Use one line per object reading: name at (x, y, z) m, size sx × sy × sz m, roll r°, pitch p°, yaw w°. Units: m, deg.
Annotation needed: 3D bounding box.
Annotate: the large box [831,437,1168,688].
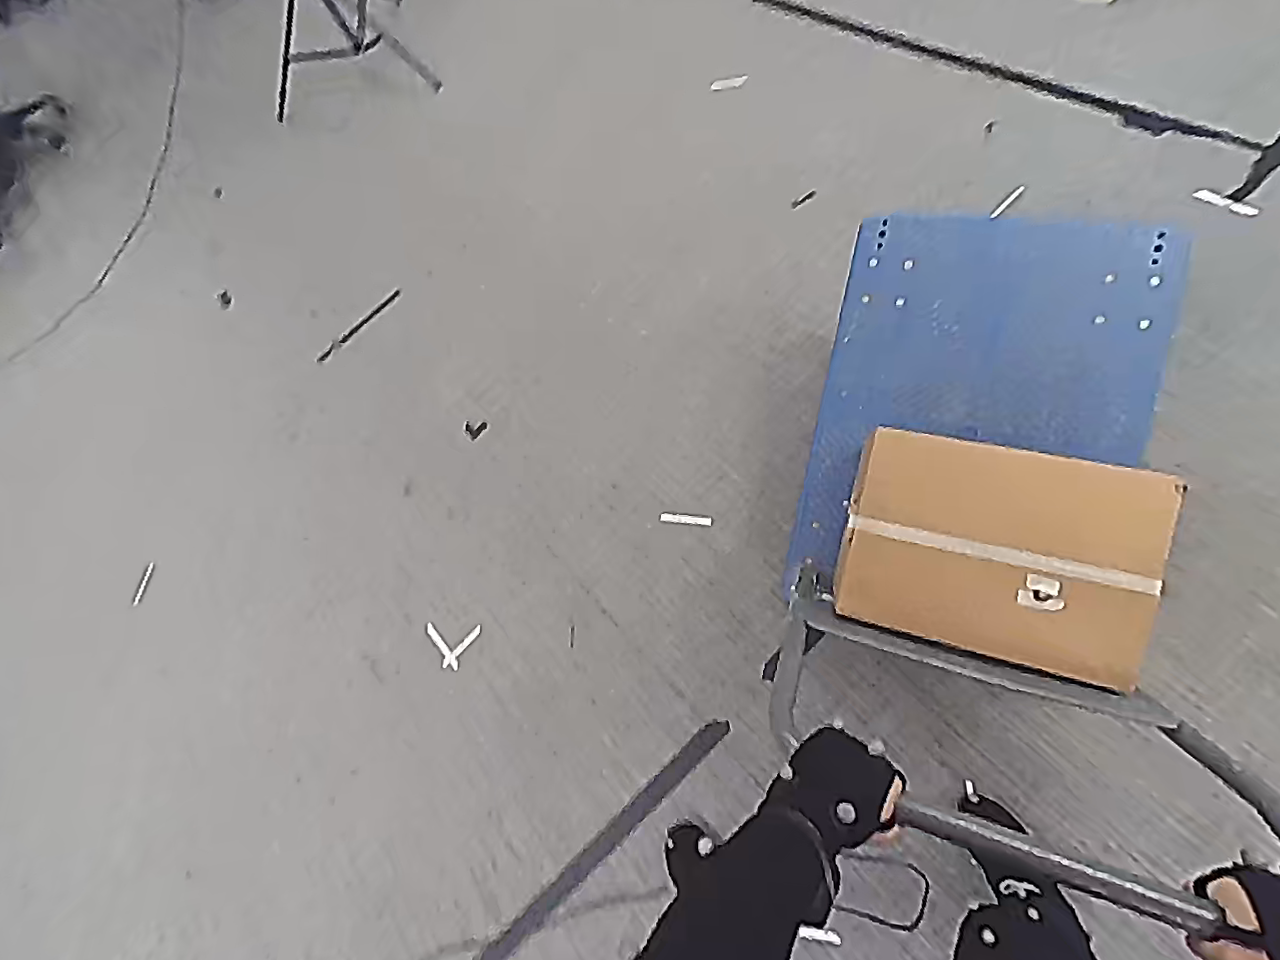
large box at (0.581, 0.120, 0.973) m, size 0.408 × 0.320 × 0.320 m, roll 13°, pitch 93°, yaw 18°
